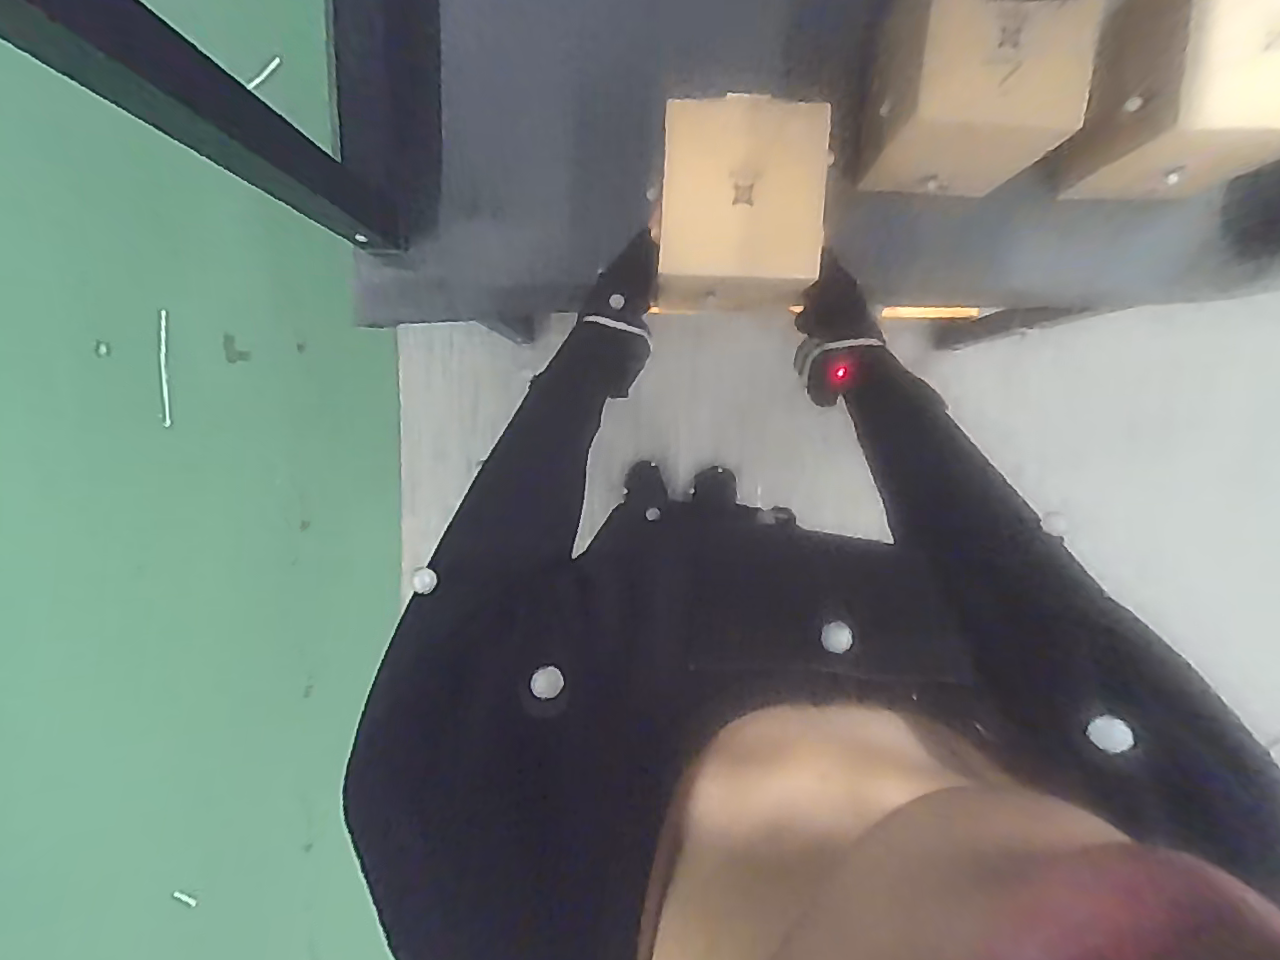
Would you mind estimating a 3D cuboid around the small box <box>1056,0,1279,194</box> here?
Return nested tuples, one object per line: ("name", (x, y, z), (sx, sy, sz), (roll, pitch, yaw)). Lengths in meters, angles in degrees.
("small box", (0.607, -0.438, 0.600), (0.168, 0.176, 0.179), (1, 95, 2))

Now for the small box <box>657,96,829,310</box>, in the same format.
("small box", (0.107, -0.304, 0.630), (0.168, 0.176, 0.179), (3, 94, 2))
